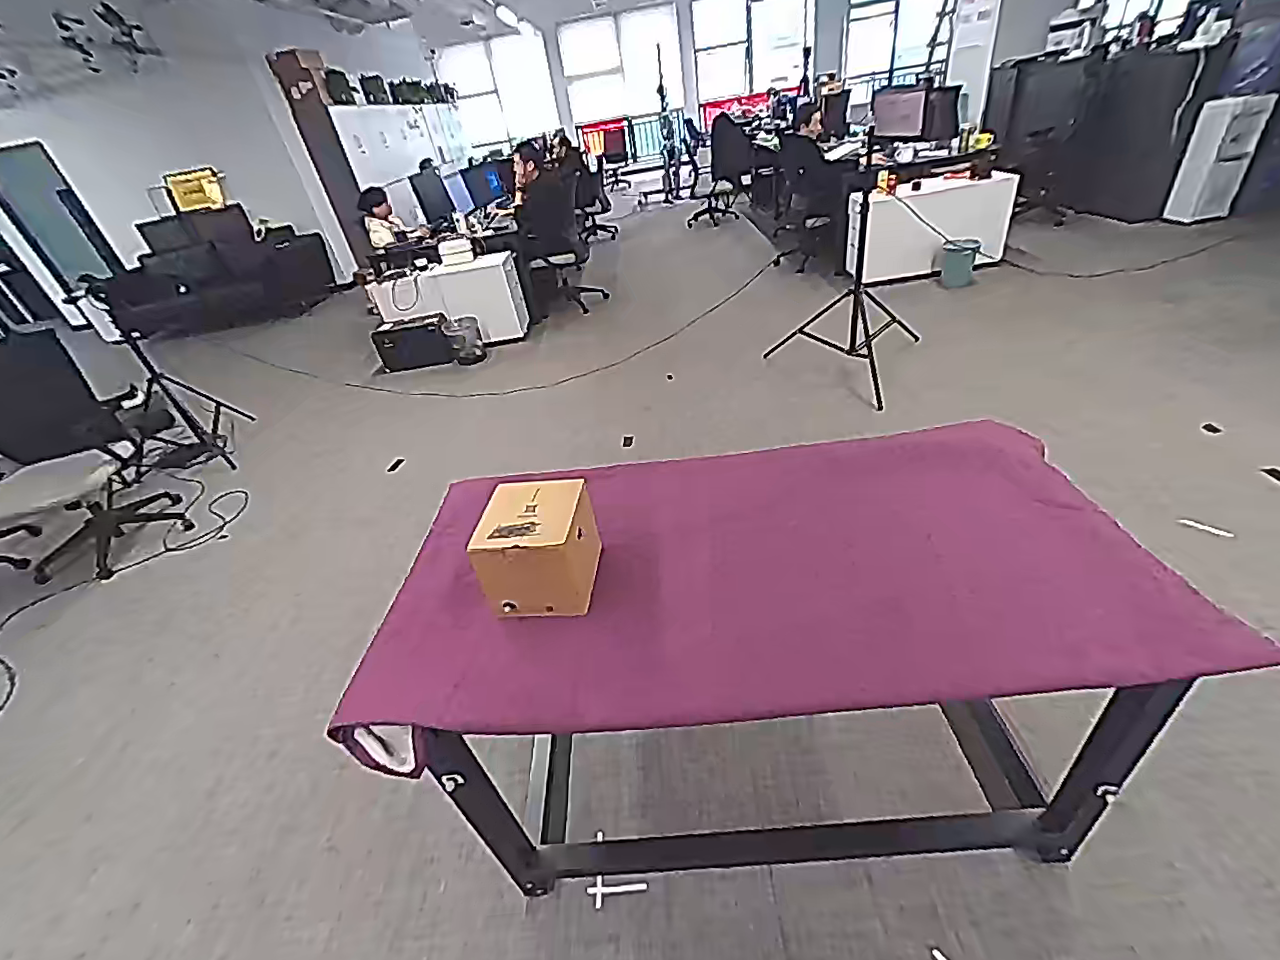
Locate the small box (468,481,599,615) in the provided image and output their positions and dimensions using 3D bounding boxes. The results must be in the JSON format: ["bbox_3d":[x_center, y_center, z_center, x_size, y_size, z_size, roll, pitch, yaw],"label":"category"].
[{"bbox_3d":[-0.175,0.124,0.960,0.168,0.176,0.179,-3,35,9],"label":"small box"}]
